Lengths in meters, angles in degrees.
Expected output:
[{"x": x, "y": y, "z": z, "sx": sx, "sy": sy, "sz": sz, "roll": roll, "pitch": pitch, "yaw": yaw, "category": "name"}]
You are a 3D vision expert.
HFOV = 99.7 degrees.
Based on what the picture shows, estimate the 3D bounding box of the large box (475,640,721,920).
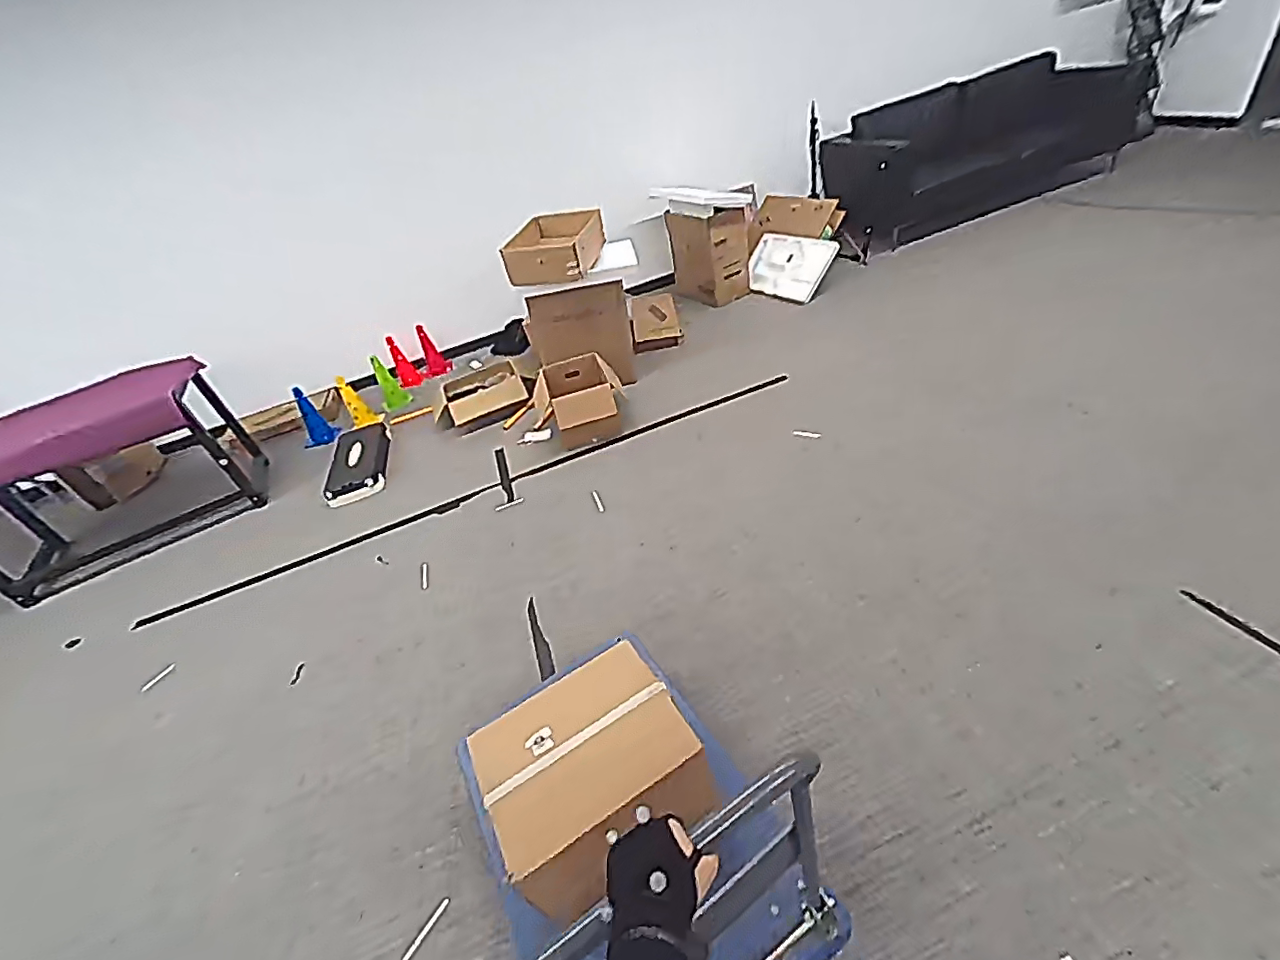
[{"x": -0.083, "y": 0.648, "z": 1.196, "sx": 0.408, "sy": 0.320, "sz": 0.320, "roll": -29, "pitch": 39, "yaw": -16, "category": "large box"}]
